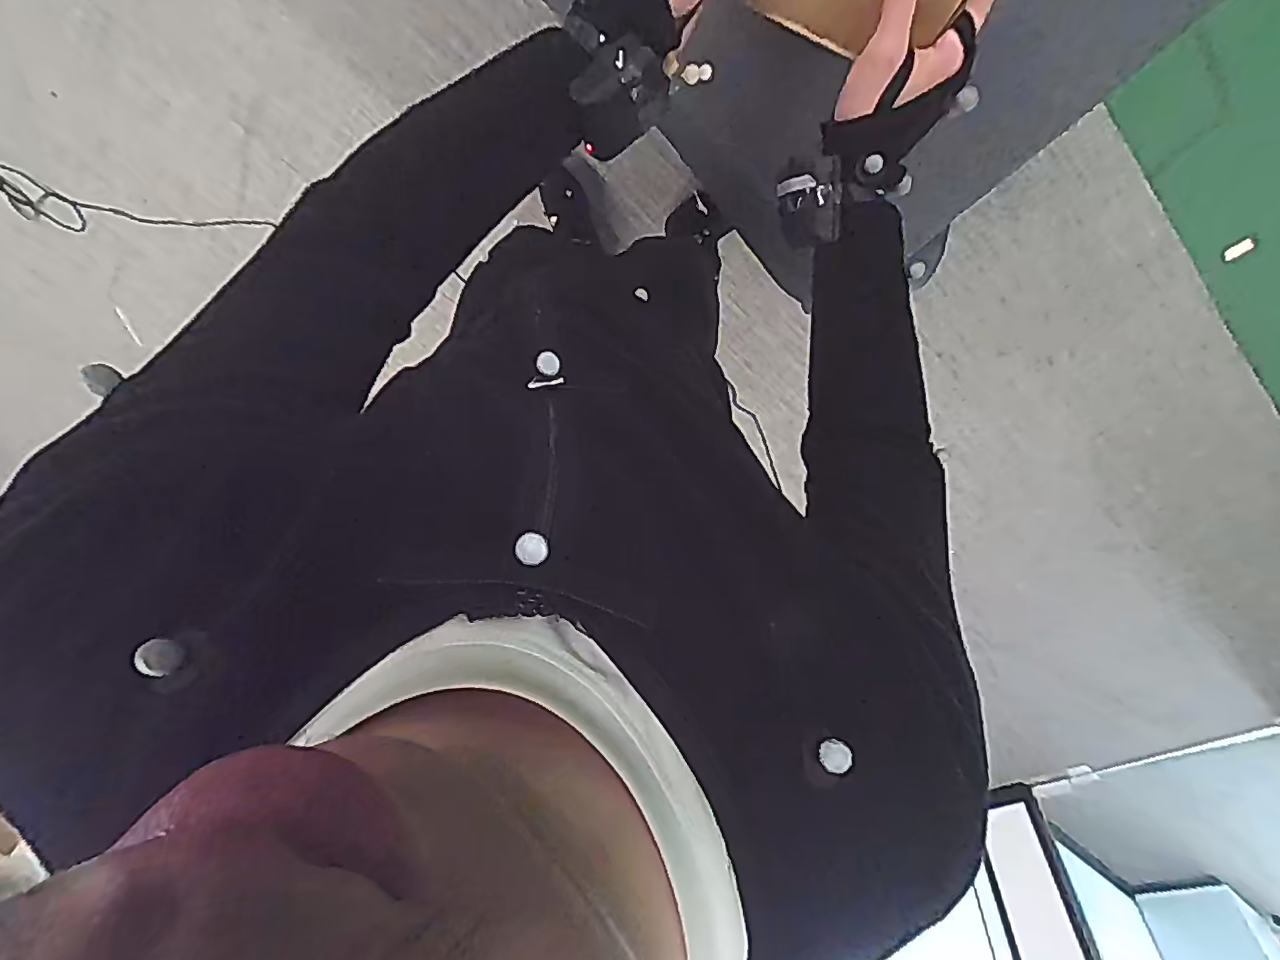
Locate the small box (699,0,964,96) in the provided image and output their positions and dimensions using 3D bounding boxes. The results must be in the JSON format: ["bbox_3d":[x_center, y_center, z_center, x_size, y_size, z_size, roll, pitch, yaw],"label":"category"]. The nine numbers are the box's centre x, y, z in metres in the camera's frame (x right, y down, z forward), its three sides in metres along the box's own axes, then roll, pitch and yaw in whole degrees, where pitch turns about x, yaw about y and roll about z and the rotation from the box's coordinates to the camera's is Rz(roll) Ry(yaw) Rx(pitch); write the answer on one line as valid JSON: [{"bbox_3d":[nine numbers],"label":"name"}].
[{"bbox_3d":[0.156,-0.410,0.346,0.179,0.176,0.168,24,161,-4],"label":"small box"}]
